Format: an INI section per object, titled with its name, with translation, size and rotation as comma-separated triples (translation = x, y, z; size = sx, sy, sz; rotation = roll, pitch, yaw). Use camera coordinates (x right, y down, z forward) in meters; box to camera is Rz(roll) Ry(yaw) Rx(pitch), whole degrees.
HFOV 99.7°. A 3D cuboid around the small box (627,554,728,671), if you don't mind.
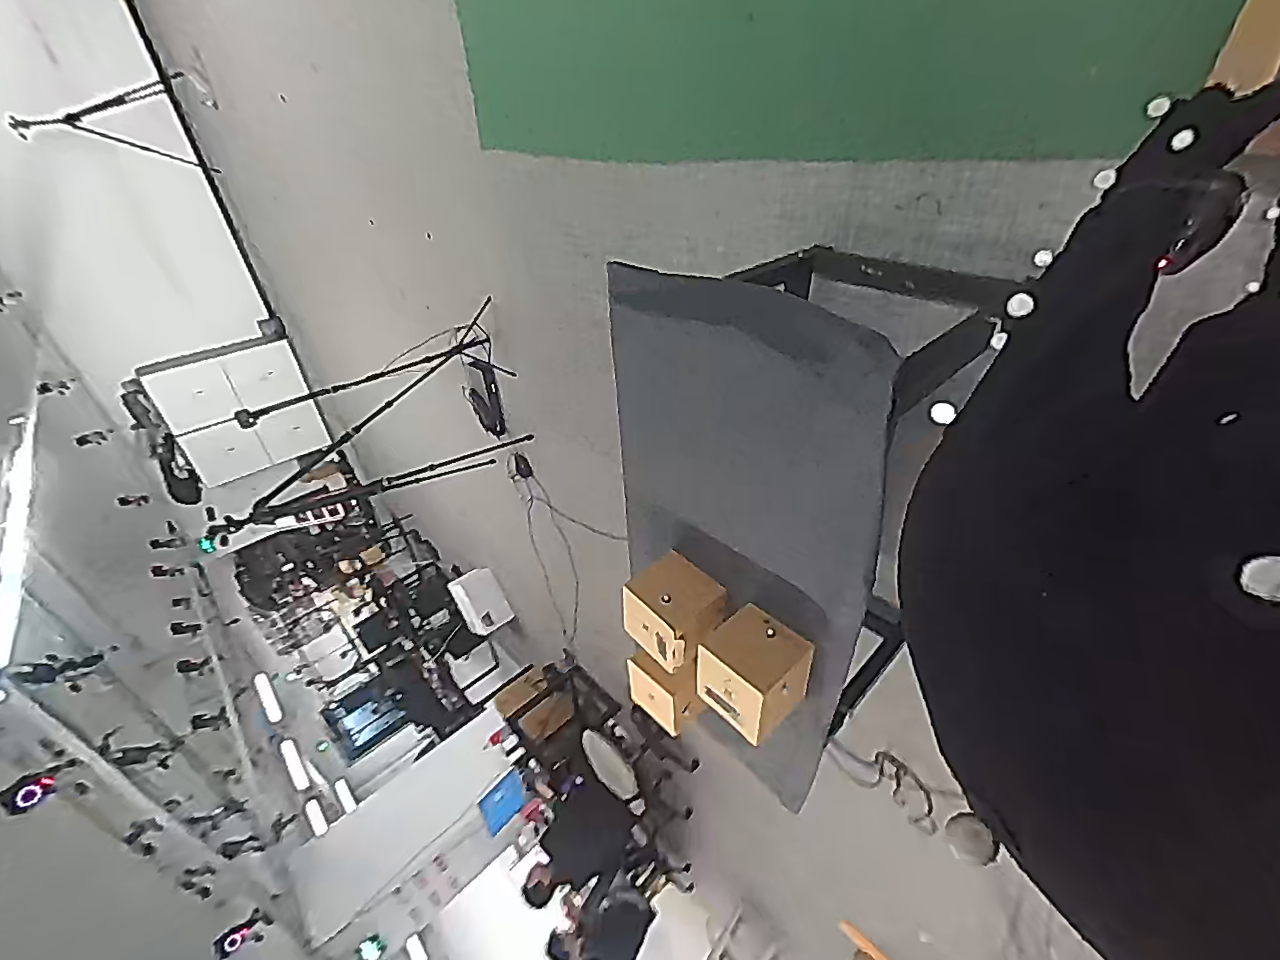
[small box]
translation = 0.089, 0.304, 1.278
size = 0.179, 0.176, 0.168
rotation = 34, 139, 36
